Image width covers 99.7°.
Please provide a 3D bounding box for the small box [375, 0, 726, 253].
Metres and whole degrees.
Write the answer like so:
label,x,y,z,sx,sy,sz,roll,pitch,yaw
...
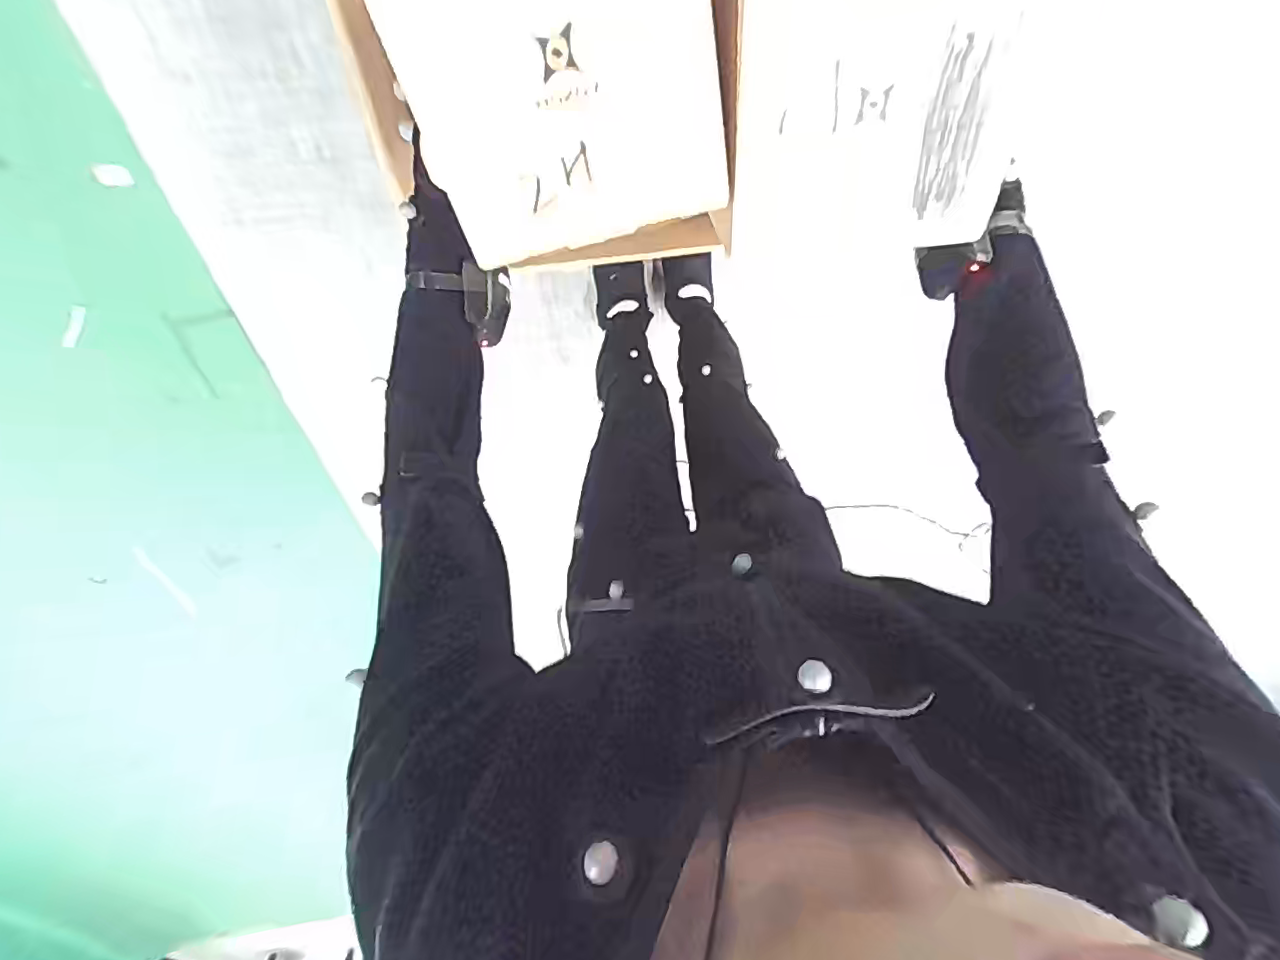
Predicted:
label,x,y,z,sx,sy,sz,roll,pitch,yaw
small box,-0.050,-0.277,0.344,0.168,0.176,0.179,-12,132,5
